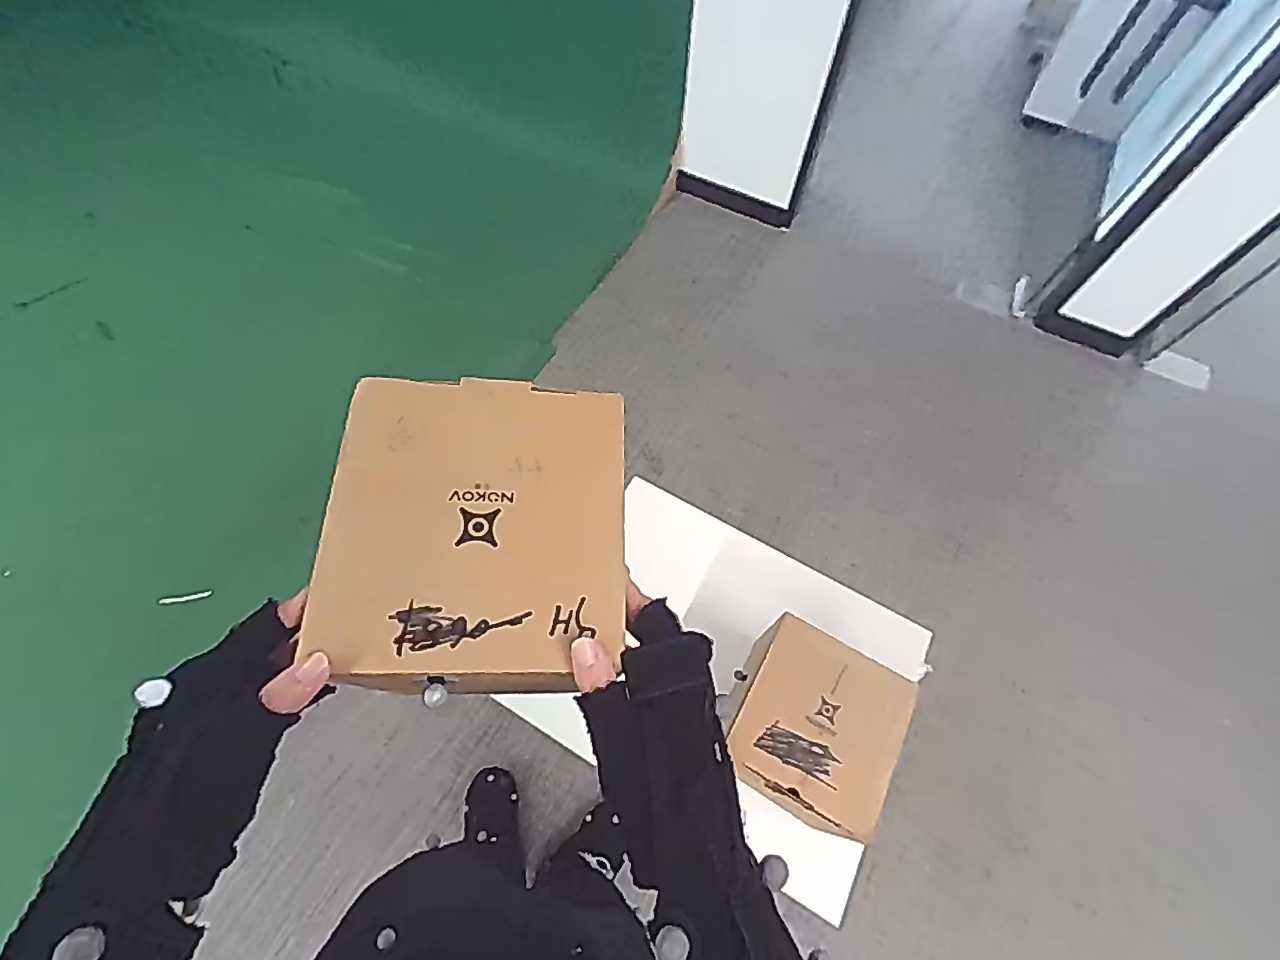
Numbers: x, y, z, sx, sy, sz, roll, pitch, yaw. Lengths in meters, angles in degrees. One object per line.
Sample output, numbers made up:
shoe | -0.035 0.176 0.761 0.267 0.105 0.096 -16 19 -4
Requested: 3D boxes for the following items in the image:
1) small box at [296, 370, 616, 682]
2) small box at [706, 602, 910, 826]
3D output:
small box | -0.107 0.045 0.391 0.168 0.176 0.179 2 65 -8
small box | 0.192 0.285 0.665 0.168 0.176 0.179 28 64 13
